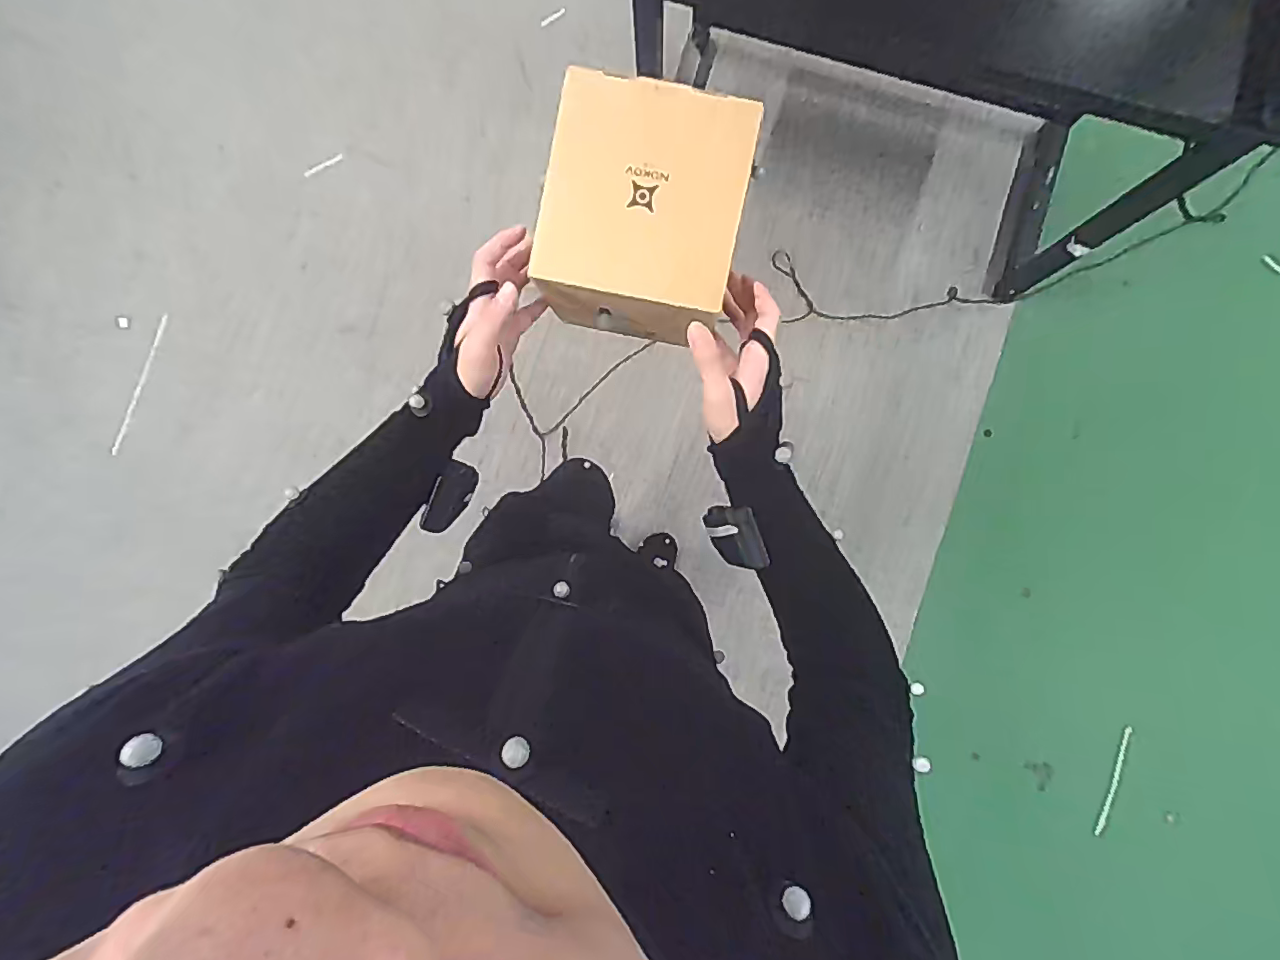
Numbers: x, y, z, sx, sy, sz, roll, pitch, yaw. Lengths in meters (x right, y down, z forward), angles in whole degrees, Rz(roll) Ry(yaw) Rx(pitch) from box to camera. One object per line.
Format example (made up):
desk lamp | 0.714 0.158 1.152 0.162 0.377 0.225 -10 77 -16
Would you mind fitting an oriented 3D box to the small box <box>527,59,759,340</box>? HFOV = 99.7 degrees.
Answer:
small box | 0.005 -0.246 0.520 0.168 0.176 0.179 11 93 2
